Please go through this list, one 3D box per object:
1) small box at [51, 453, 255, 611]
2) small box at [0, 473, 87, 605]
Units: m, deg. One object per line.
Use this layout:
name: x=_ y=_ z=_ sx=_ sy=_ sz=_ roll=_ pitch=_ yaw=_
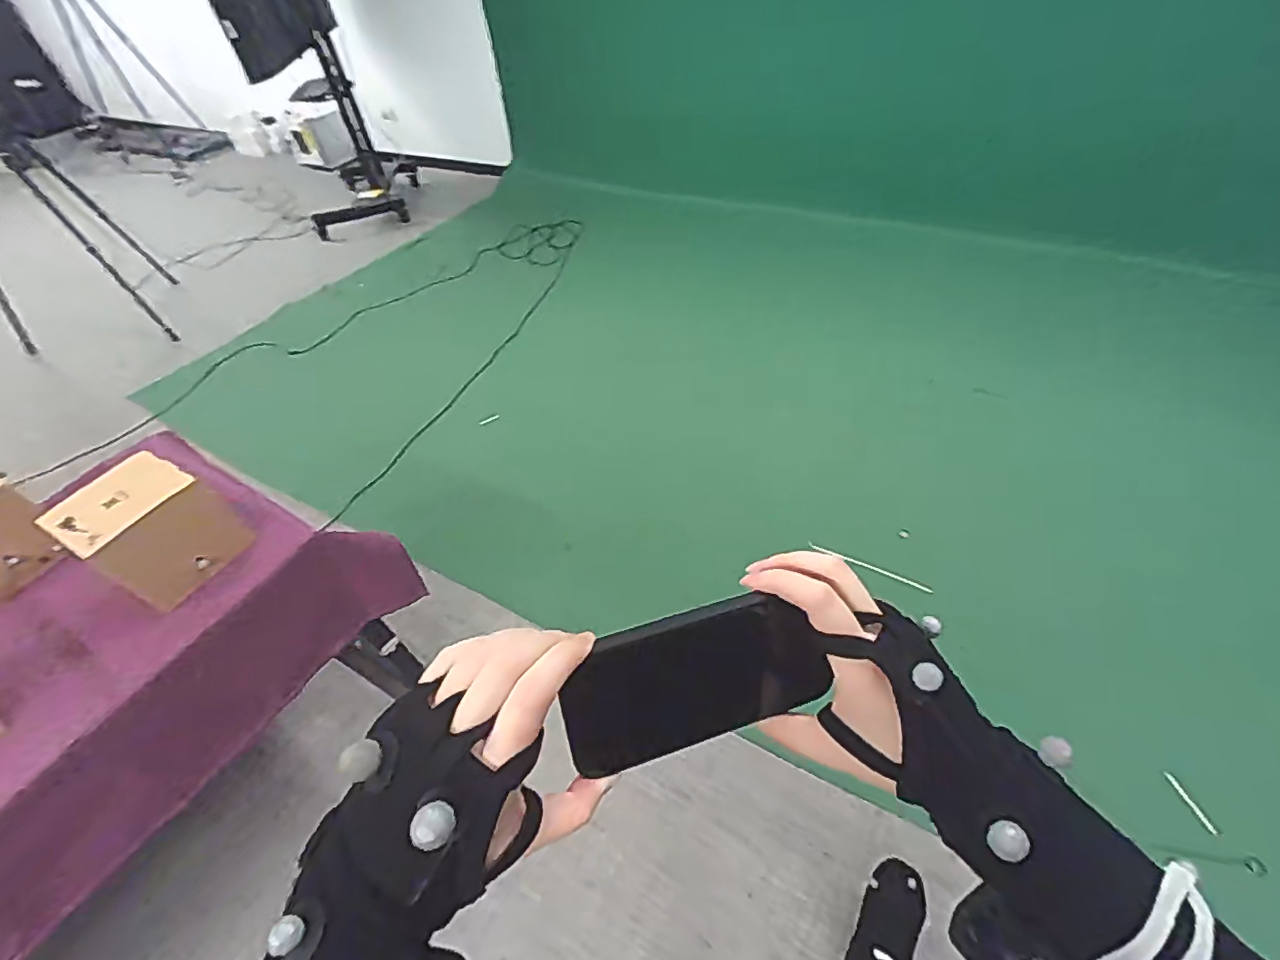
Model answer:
small box: x=-0.811 y=0.089 z=0.926 sx=0.168 sy=0.176 sz=0.179 roll=20 pitch=53 yaw=23
small box: x=-1.155 y=0.095 z=0.958 sx=0.179 sy=0.176 sz=0.168 roll=19 pitch=53 yaw=21
